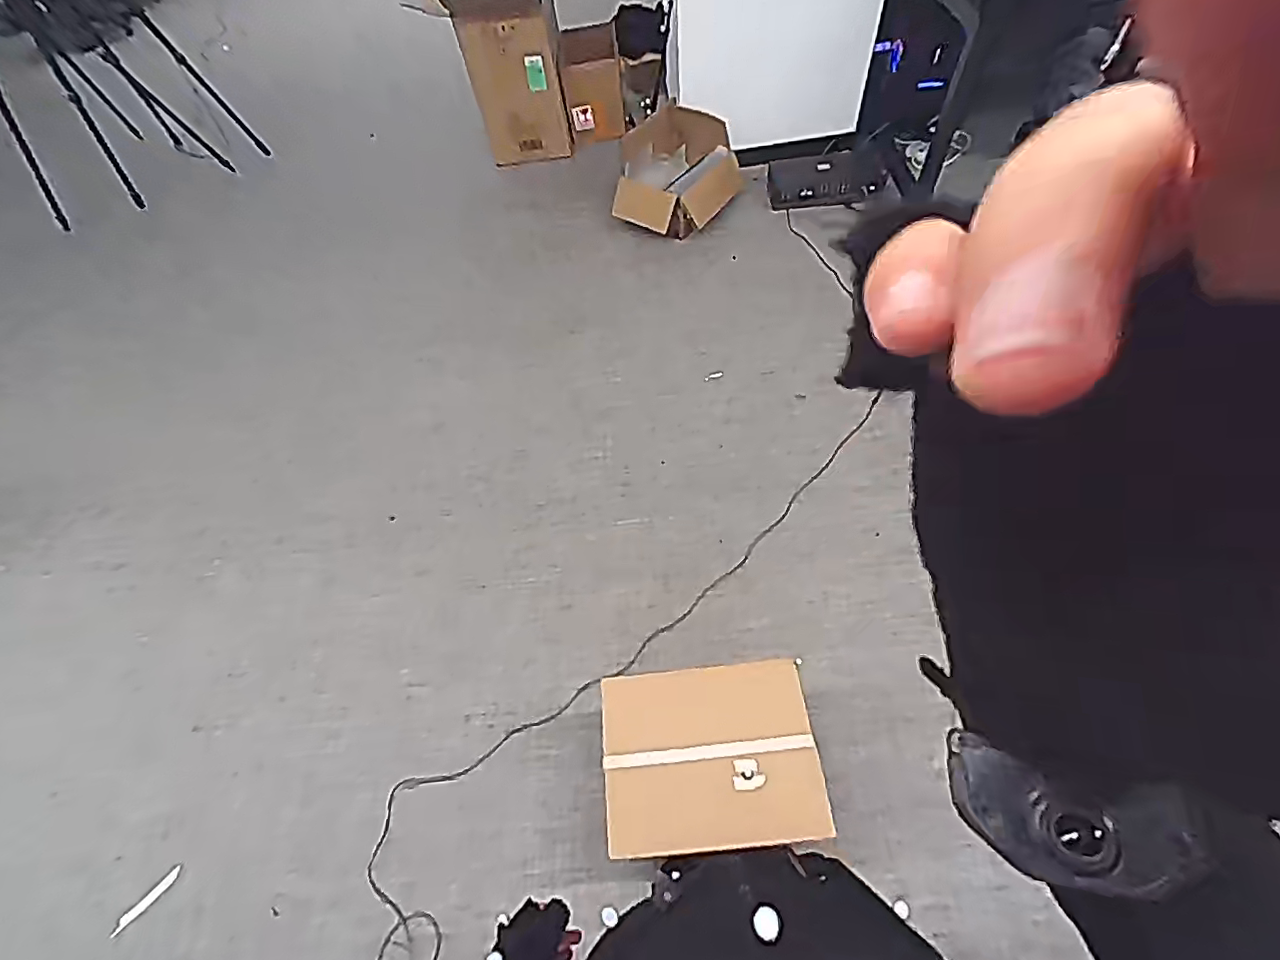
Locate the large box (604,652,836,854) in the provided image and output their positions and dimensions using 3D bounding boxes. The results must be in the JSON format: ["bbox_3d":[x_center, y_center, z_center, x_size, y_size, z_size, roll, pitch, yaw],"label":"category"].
[{"bbox_3d":[0.147,0.586,1.153,0.408,0.320,0.320,-7,58,1],"label":"large box"}]
